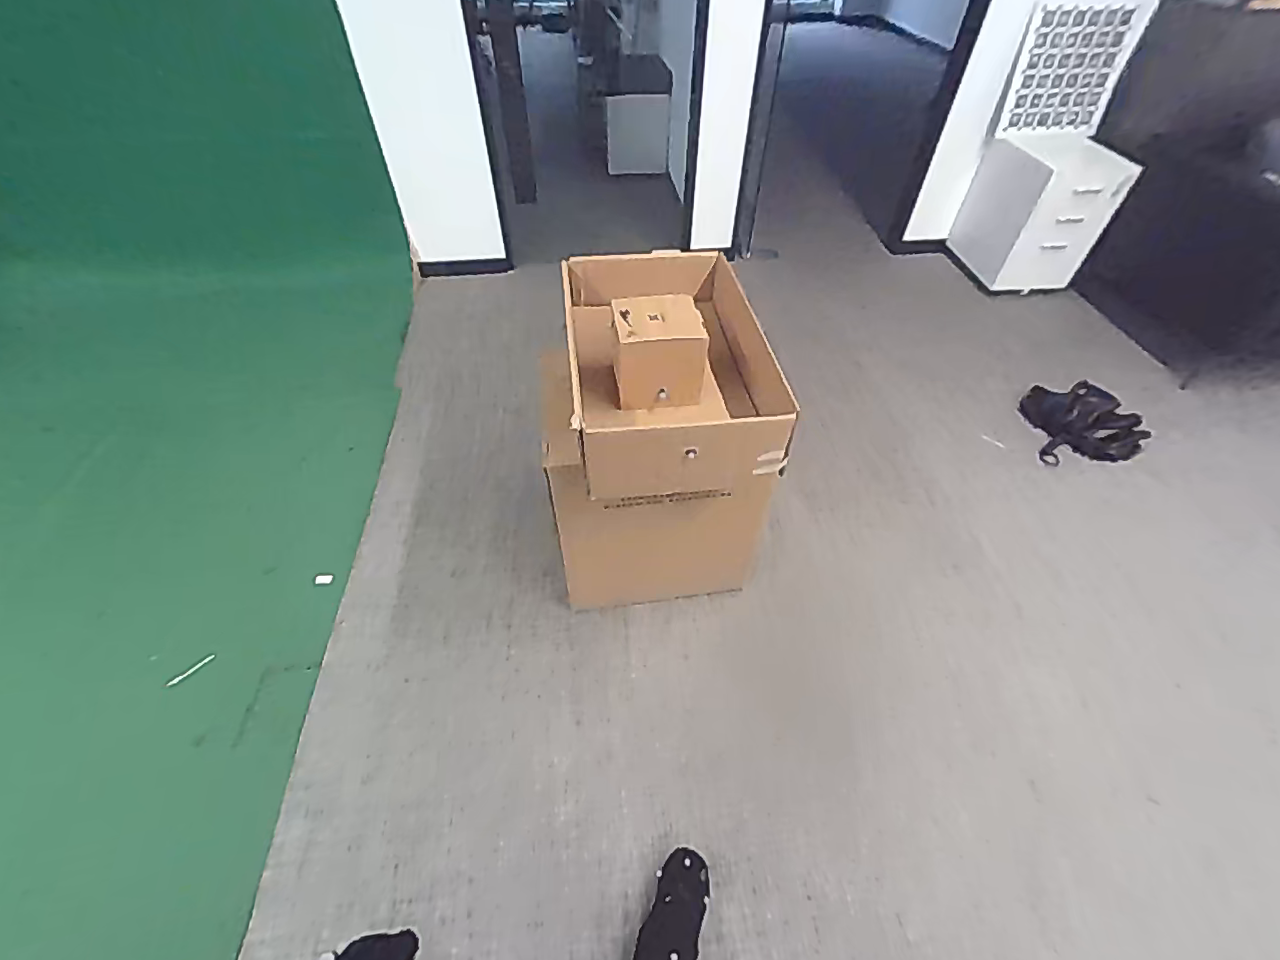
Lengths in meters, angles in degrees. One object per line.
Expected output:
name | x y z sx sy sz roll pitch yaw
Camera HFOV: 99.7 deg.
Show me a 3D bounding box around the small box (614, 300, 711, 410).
small box | 0.040 -0.264 1.145 0.179 0.176 0.168 -4 47 -7
